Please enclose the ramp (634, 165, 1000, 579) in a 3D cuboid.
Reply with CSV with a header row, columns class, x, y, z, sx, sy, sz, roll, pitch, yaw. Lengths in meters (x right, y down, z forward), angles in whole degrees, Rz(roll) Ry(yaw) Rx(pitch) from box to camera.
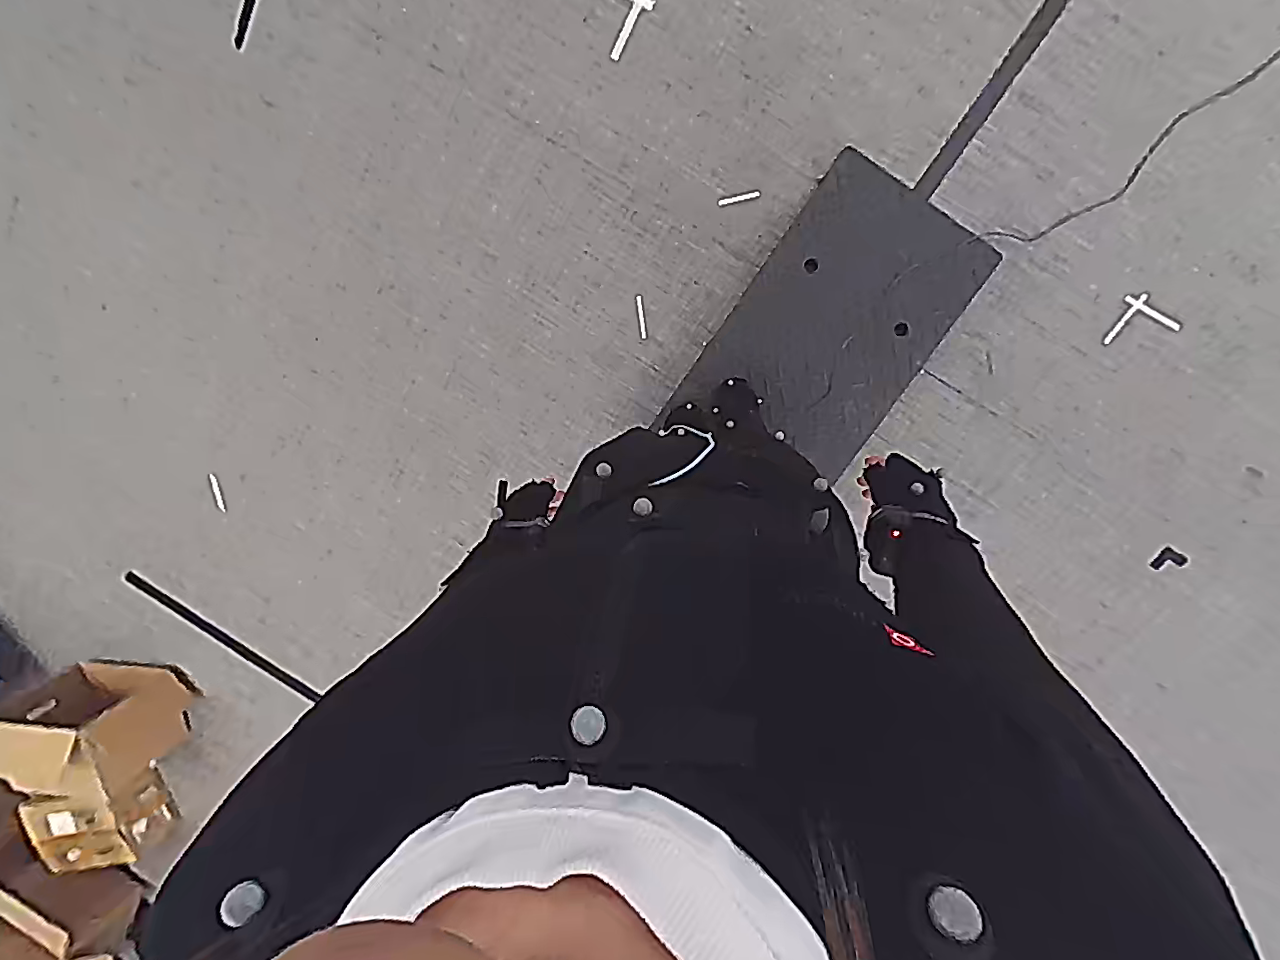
class,x,y,z,sx,sy,sz,roll,pitch,yaw
ramp,0.451,-0.276,1.424,0.509,0.206,0.991,32,104,3
